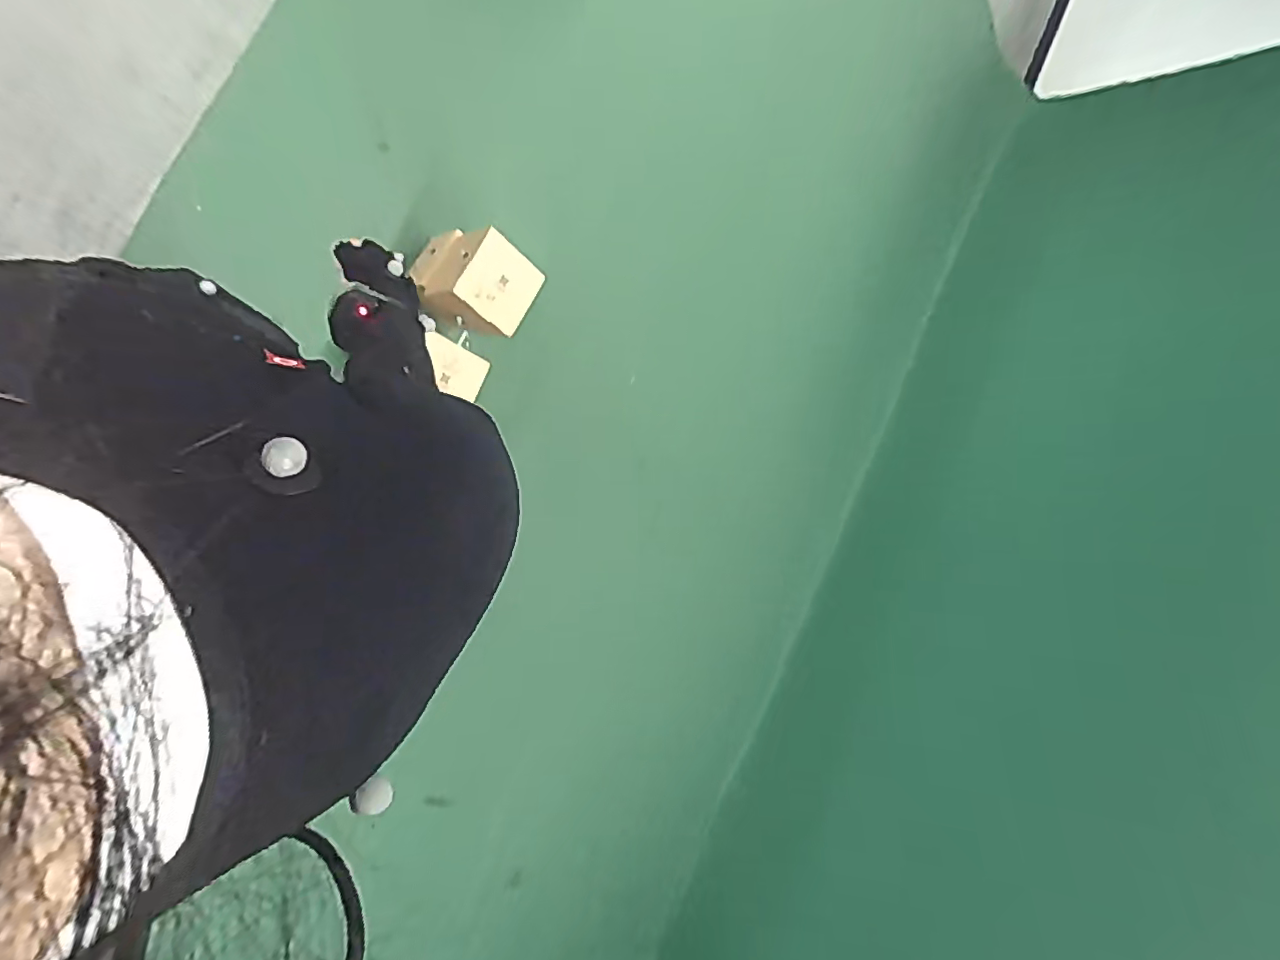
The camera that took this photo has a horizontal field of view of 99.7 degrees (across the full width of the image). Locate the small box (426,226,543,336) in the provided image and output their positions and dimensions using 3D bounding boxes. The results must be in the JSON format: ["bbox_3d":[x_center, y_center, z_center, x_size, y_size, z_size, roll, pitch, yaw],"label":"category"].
[{"bbox_3d":[-0.368,-0.460,1.266,0.168,0.176,0.179,36,77,-42],"label":"small box"}]

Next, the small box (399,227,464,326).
[{"bbox_3d":[-0.478,-0.507,1.380,0.179,0.176,0.168,38,76,-42],"label":"small box"}]
